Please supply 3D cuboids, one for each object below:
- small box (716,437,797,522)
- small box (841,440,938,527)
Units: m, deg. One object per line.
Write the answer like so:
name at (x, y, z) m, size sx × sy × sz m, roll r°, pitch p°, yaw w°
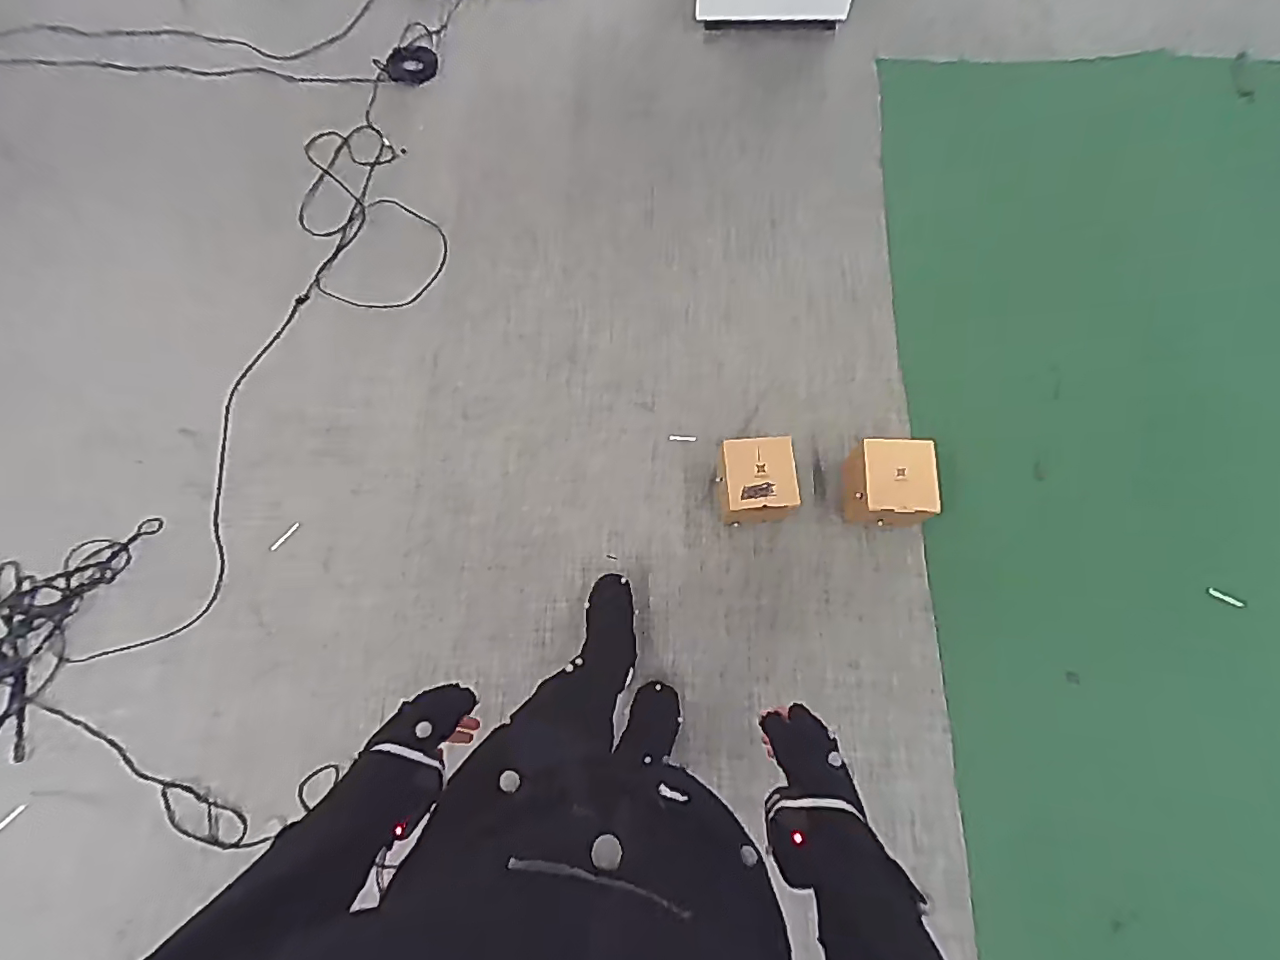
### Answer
small box at (0.285, 0.006, 1.356) m, size 0.168 × 0.176 × 0.179 m, roll -3°, pitch 73°, yaw 1°
small box at (0.609, 0.013, 1.345) m, size 0.168 × 0.176 × 0.179 m, roll 1°, pitch 74°, yaw 3°
